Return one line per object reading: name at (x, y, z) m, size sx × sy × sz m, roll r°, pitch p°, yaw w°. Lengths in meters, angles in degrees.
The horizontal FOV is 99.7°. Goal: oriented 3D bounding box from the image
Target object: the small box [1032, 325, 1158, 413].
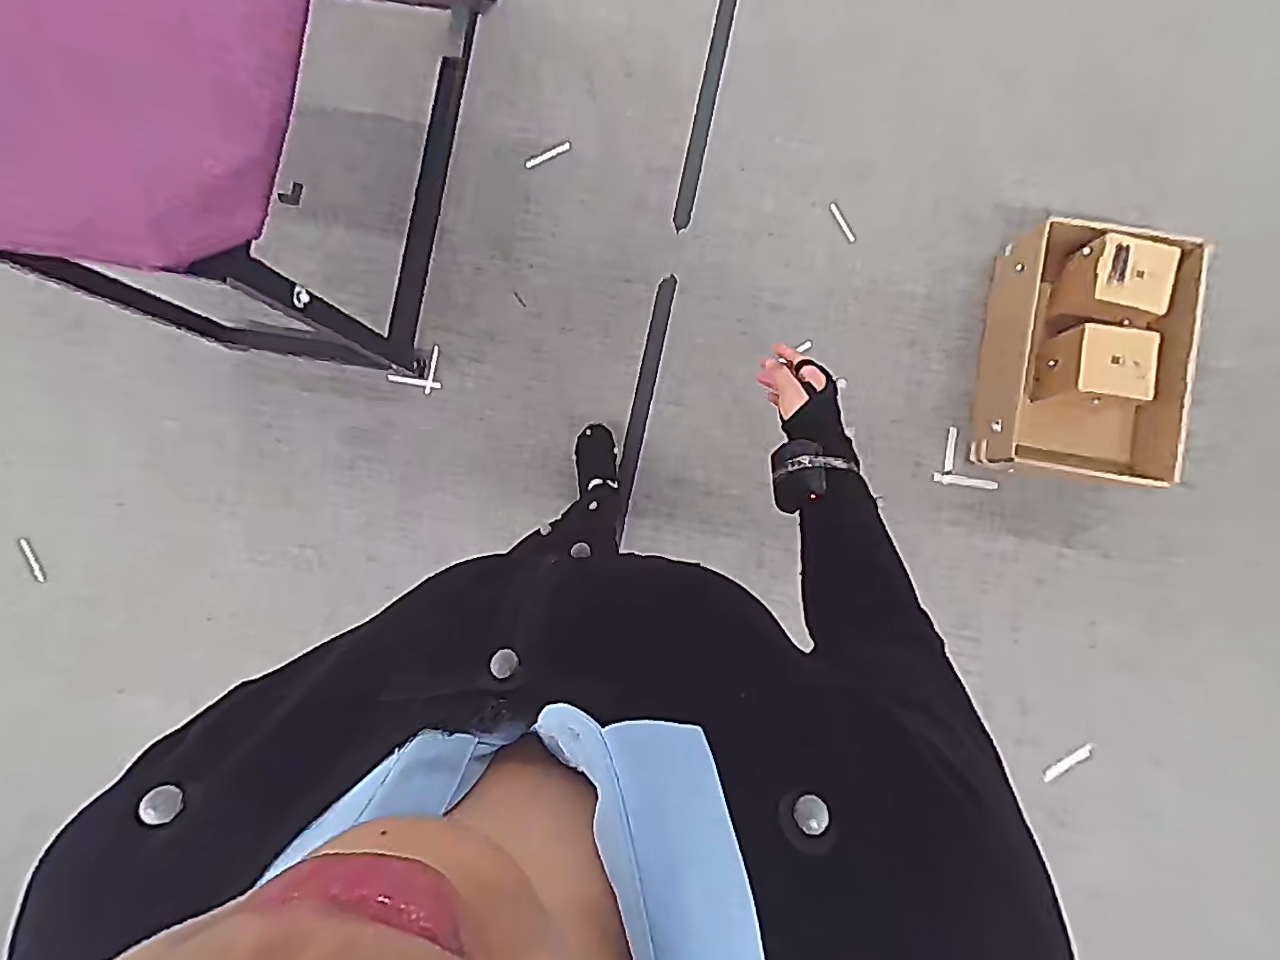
small box at (1.134, -0.272, 1.361) m, size 0.179 × 0.176 × 0.168 m, roll 9°, pitch 87°, yaw 2°
